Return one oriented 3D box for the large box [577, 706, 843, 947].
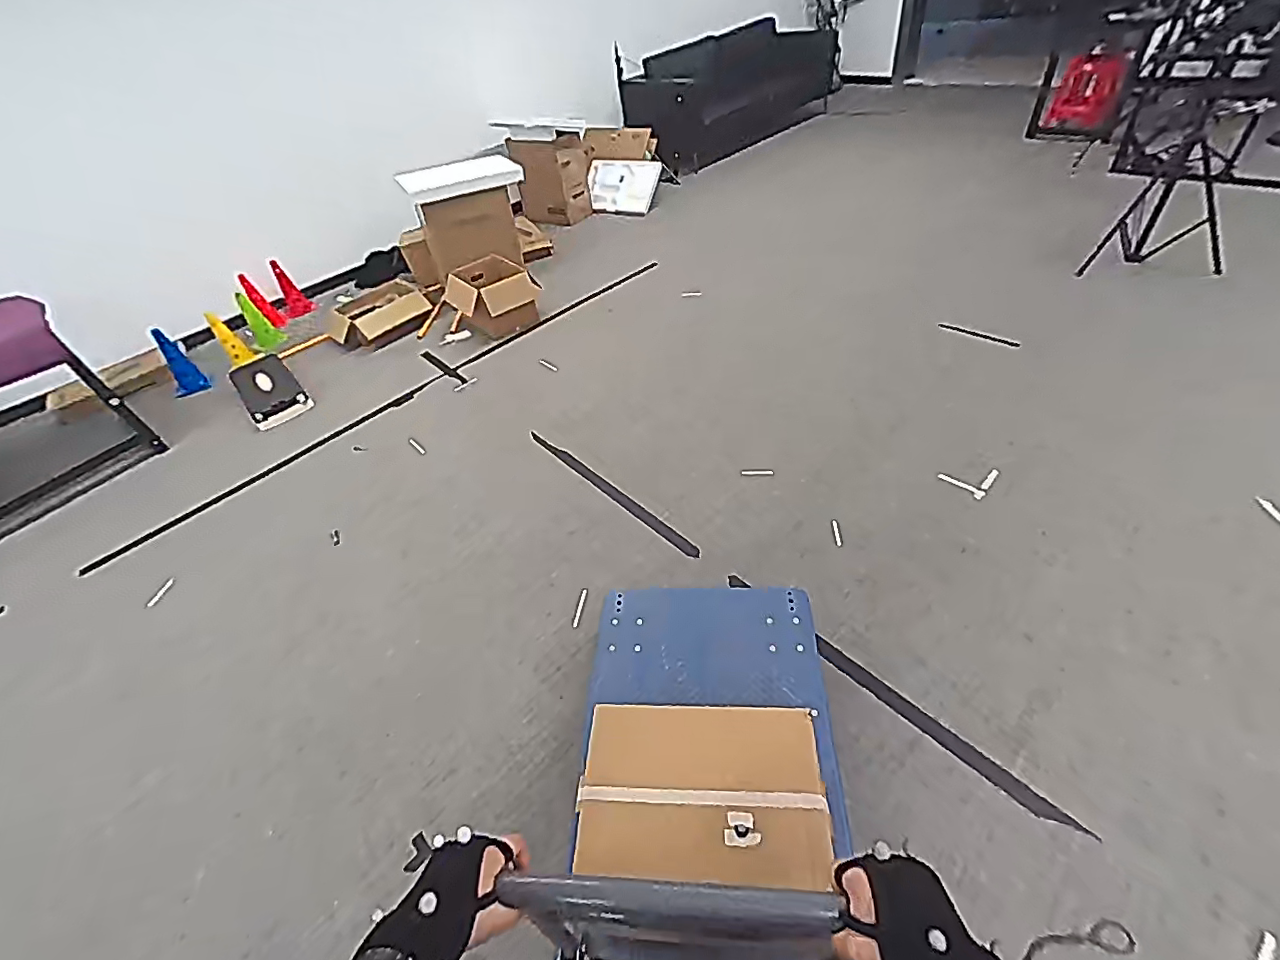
[{"bbox_3d":[0.121,0.643,1.010,0.408,0.320,0.320,-2,44,7],"label":"large box"}]
